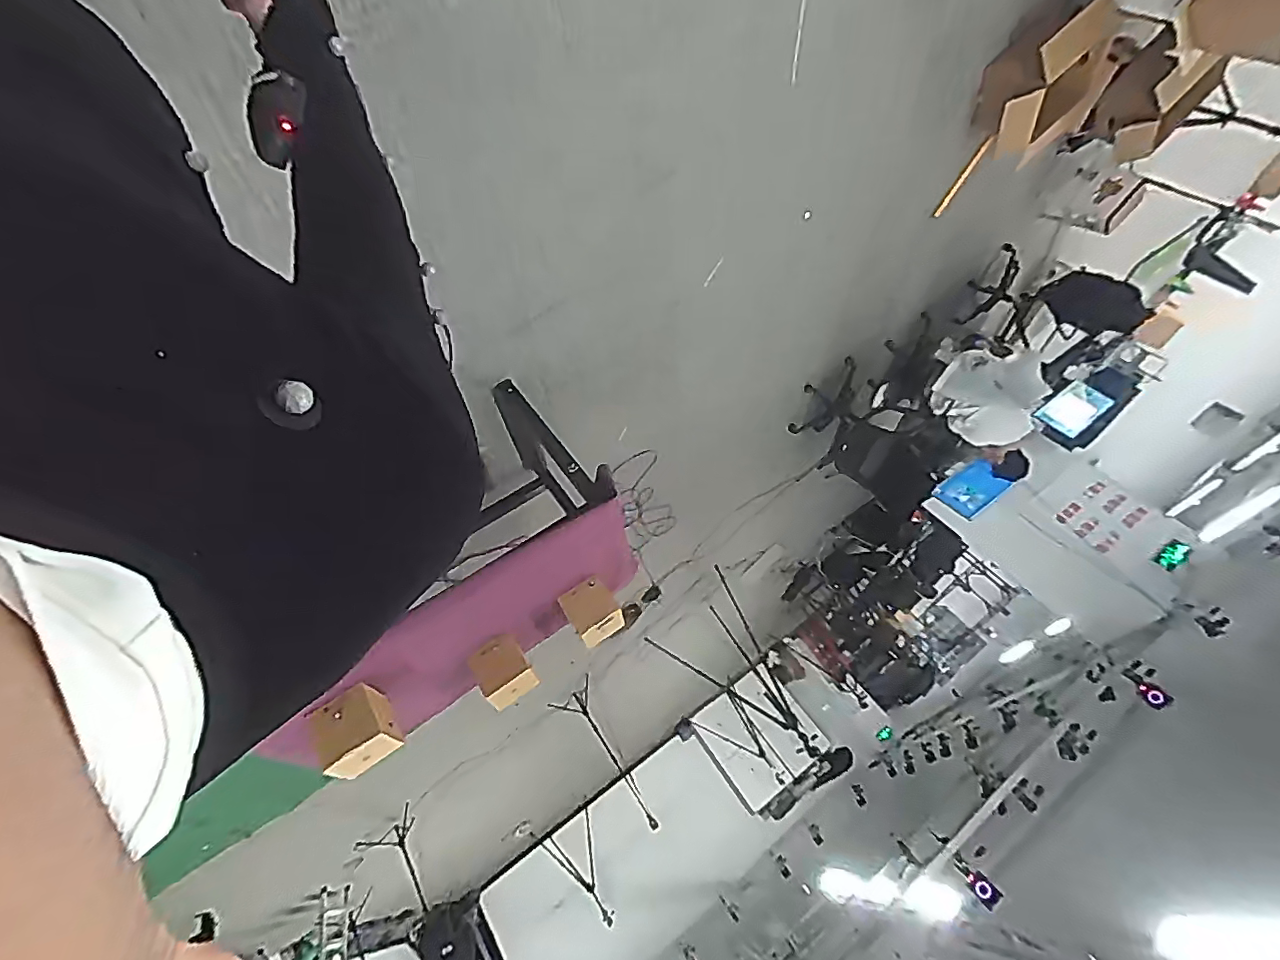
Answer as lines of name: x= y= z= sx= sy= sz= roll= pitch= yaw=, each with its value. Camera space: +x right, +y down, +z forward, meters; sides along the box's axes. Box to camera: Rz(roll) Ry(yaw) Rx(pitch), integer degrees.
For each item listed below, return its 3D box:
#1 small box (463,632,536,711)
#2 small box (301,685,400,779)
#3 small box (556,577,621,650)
small box: x=-0.480 y=0.652 z=1.851 sx=0.168 sy=0.176 sz=0.179 roll=-31 pitch=148 yaw=-18
small box: x=-0.814 y=0.708 z=1.526 sx=0.168 sy=0.176 sz=0.179 roll=-31 pitch=150 yaw=-19
small box: x=-0.186 y=0.478 z=1.960 sx=0.168 sy=0.176 sz=0.179 roll=-31 pitch=149 yaw=-16
